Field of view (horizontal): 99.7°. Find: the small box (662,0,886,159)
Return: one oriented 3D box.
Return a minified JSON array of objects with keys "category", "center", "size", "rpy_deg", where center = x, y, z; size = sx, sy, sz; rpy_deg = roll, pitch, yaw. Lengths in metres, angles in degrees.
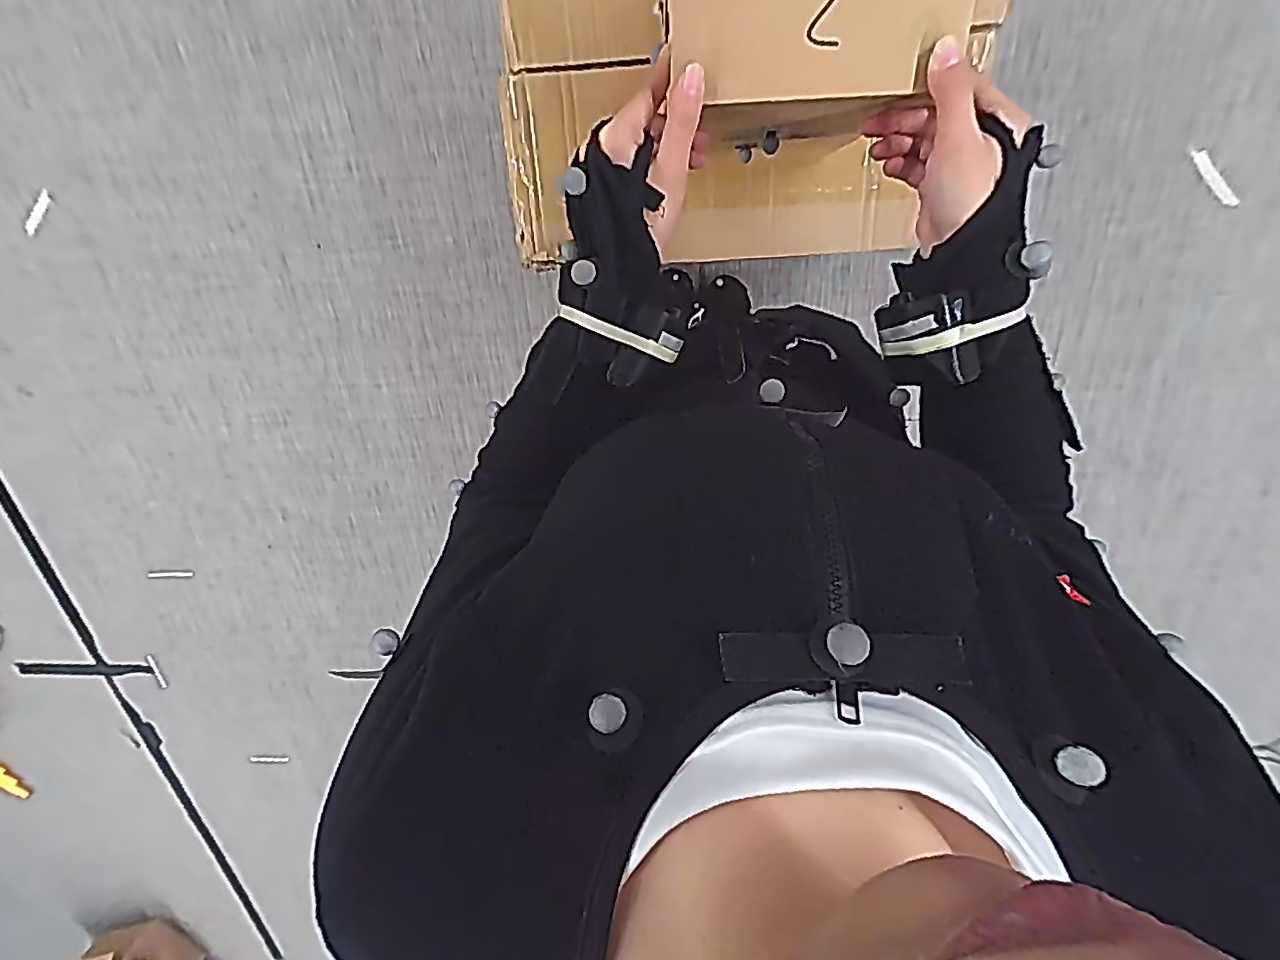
[{"category":"small box","center":[0.111,-0.404,0.500],"size":[0.179,0.176,0.168],"rpy_deg":[0,114,4]}]
